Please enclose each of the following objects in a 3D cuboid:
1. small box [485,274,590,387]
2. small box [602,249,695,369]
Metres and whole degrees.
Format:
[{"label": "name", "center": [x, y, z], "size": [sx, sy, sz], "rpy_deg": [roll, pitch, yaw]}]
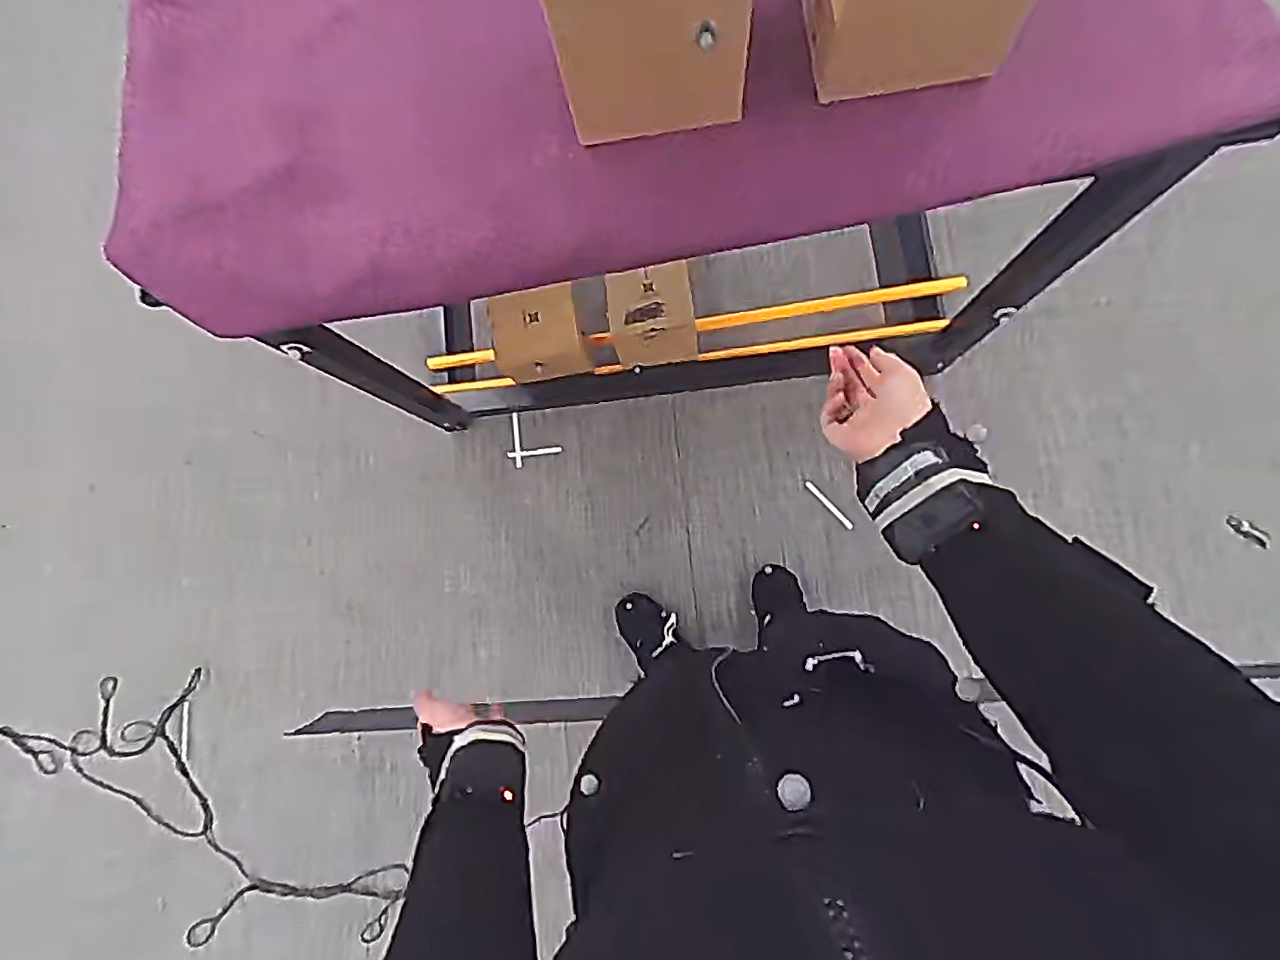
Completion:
[{"label": "small box", "center": [-0.209, -0.310, 1.153], "size": [0.179, 0.176, 0.168], "rpy_deg": [-10, 82, 5]}, {"label": "small box", "center": [0.022, -0.345, 1.129], "size": [0.168, 0.176, 0.179], "rpy_deg": [-8, 74, 5]}]
